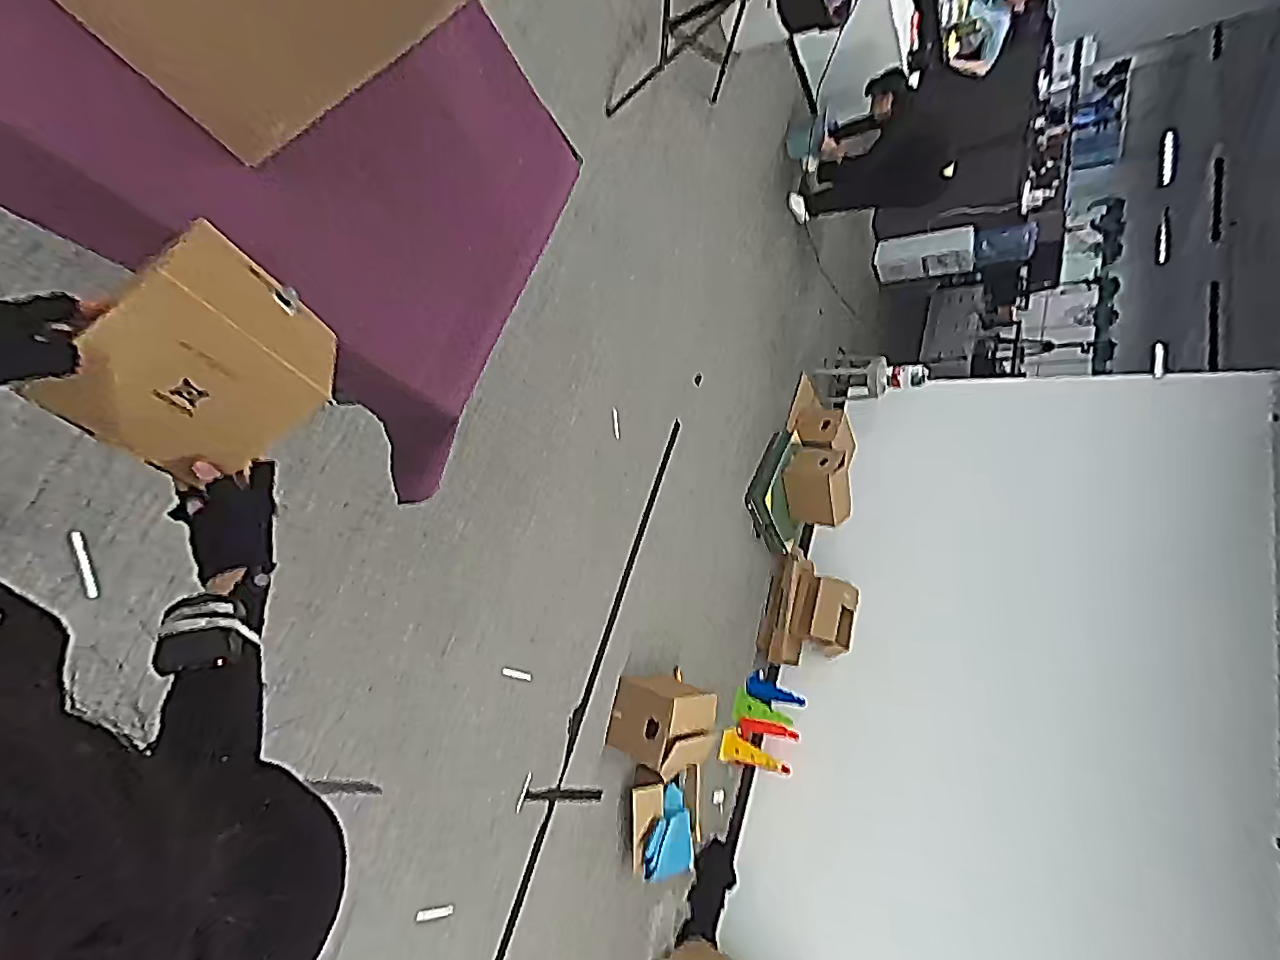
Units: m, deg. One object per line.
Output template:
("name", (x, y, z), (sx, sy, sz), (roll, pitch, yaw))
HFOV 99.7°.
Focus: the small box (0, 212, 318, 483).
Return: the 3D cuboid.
("small box", (-0.460, -0.137, 0.556), (0.179, 0.176, 0.168), (-37, 136, 4))
